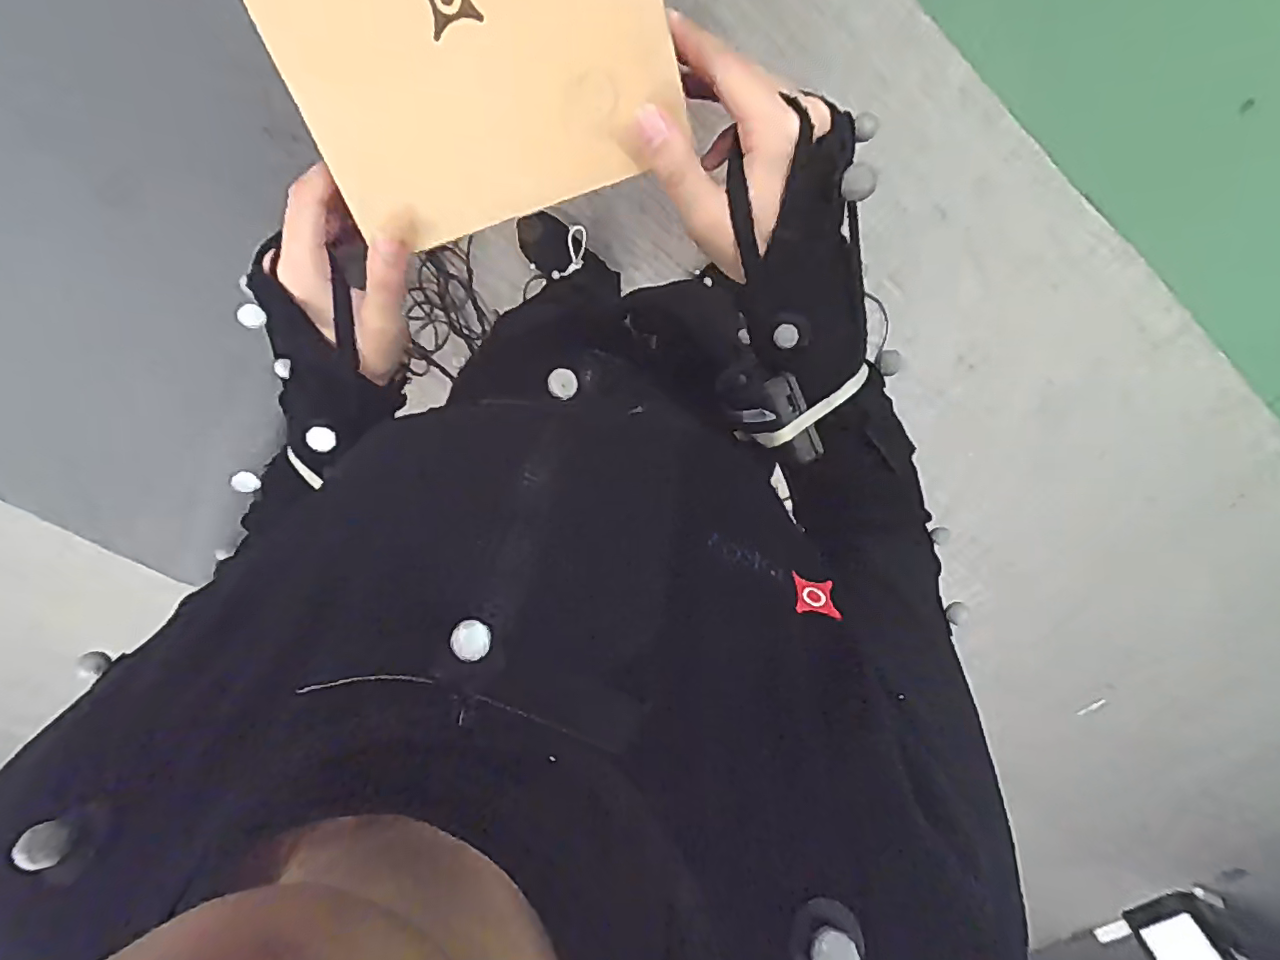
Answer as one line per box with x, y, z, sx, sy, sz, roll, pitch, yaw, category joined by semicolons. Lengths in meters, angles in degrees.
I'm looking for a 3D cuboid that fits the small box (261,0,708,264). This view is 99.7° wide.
-0.063;-0.237;0.280;0.168;0.176;0.179;-13;120;12;small box
